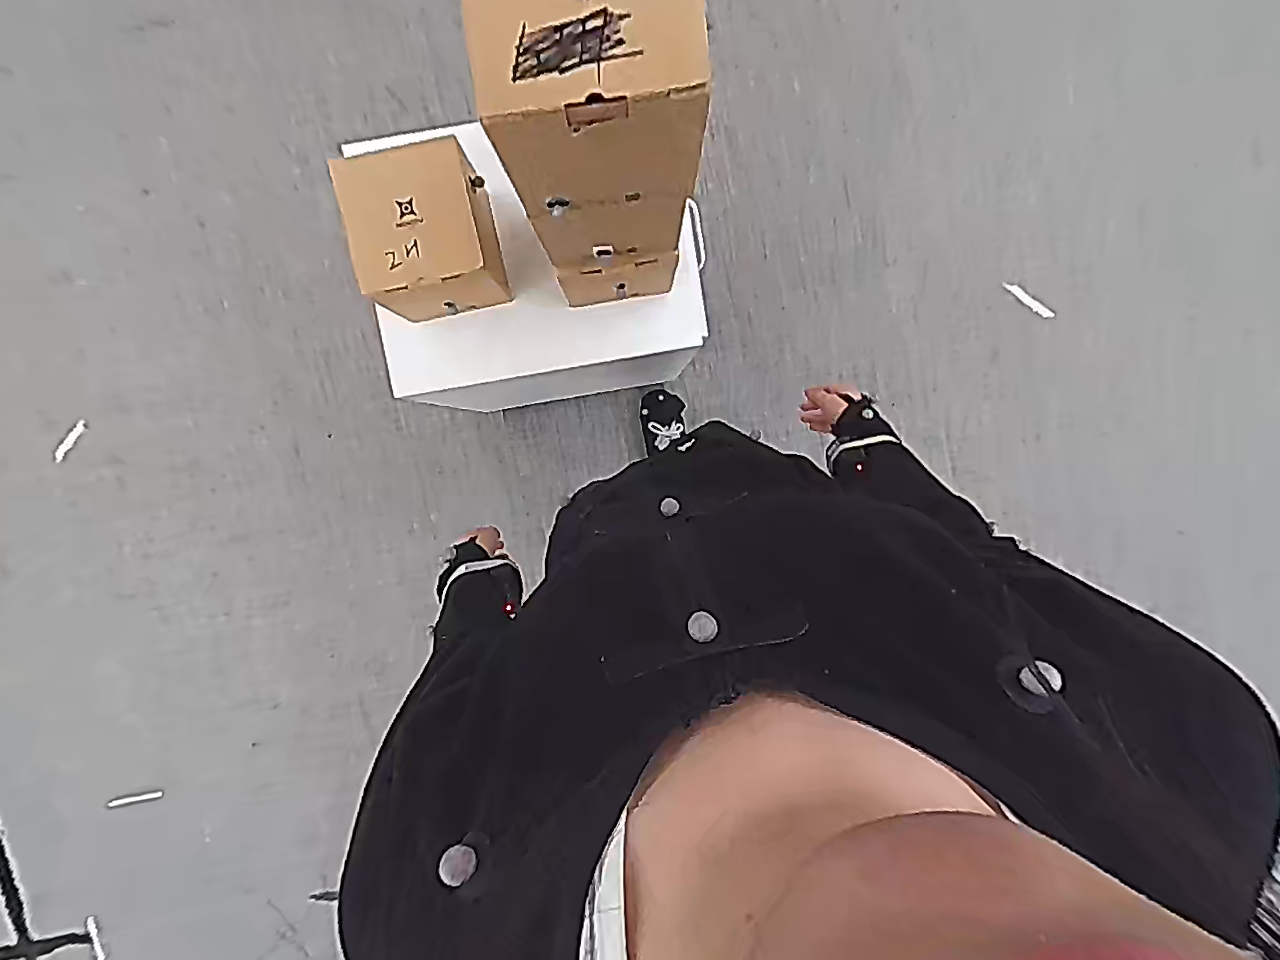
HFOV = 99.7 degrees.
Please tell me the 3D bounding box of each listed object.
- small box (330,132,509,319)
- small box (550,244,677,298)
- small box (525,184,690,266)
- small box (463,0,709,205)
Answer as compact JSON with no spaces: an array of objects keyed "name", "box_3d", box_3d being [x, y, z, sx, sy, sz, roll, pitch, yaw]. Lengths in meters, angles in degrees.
[{"name":"small box","box_3d":[-0.297,-0.347,0.768,0.168,0.176,0.179,-12,95,0]},{"name":"small box","box_3d":[-0.044,-0.369,0.771,0.168,0.176,0.179,-9,96,-1]},{"name":"small box","box_3d":[-0.042,-0.365,0.608,0.168,0.176,0.179,-9,95,1]},{"name":"small box","box_3d":[-0.039,-0.349,0.444,0.168,0.176,0.179,-7,93,1]}]
